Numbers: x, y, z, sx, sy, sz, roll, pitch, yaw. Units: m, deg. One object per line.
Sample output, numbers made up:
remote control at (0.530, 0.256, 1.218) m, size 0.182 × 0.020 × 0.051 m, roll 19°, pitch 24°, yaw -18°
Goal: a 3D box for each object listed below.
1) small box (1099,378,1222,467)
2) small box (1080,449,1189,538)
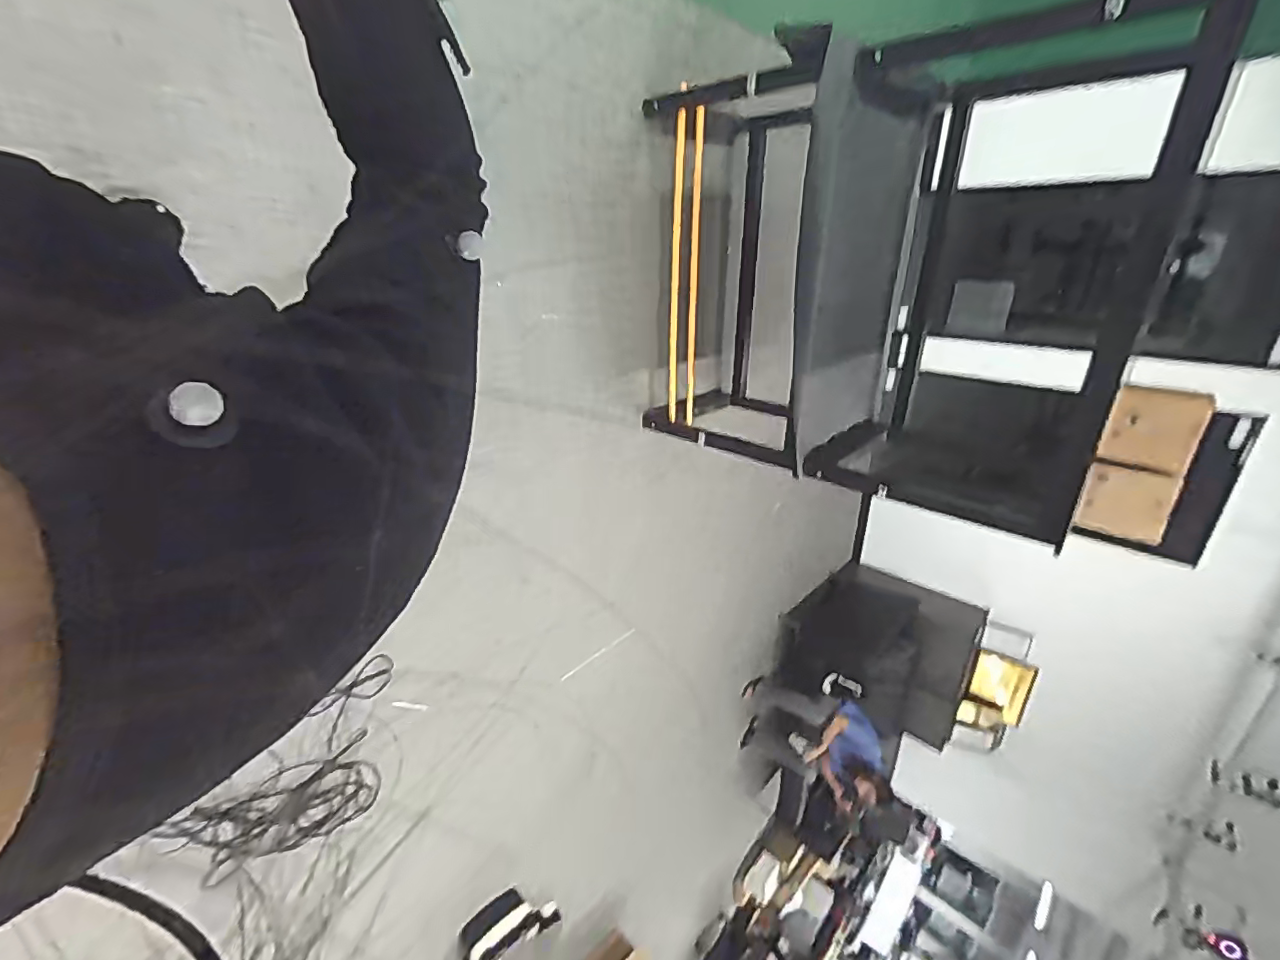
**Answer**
small box at (1.237, -0.146, 1.294) m, size 0.179 × 0.176 × 0.168 m, roll -19°, pitch 119°, yaw -43°
small box at (1.238, 0.023, 1.363) m, size 0.179 × 0.176 × 0.168 m, roll -21°, pitch 120°, yaw -44°
